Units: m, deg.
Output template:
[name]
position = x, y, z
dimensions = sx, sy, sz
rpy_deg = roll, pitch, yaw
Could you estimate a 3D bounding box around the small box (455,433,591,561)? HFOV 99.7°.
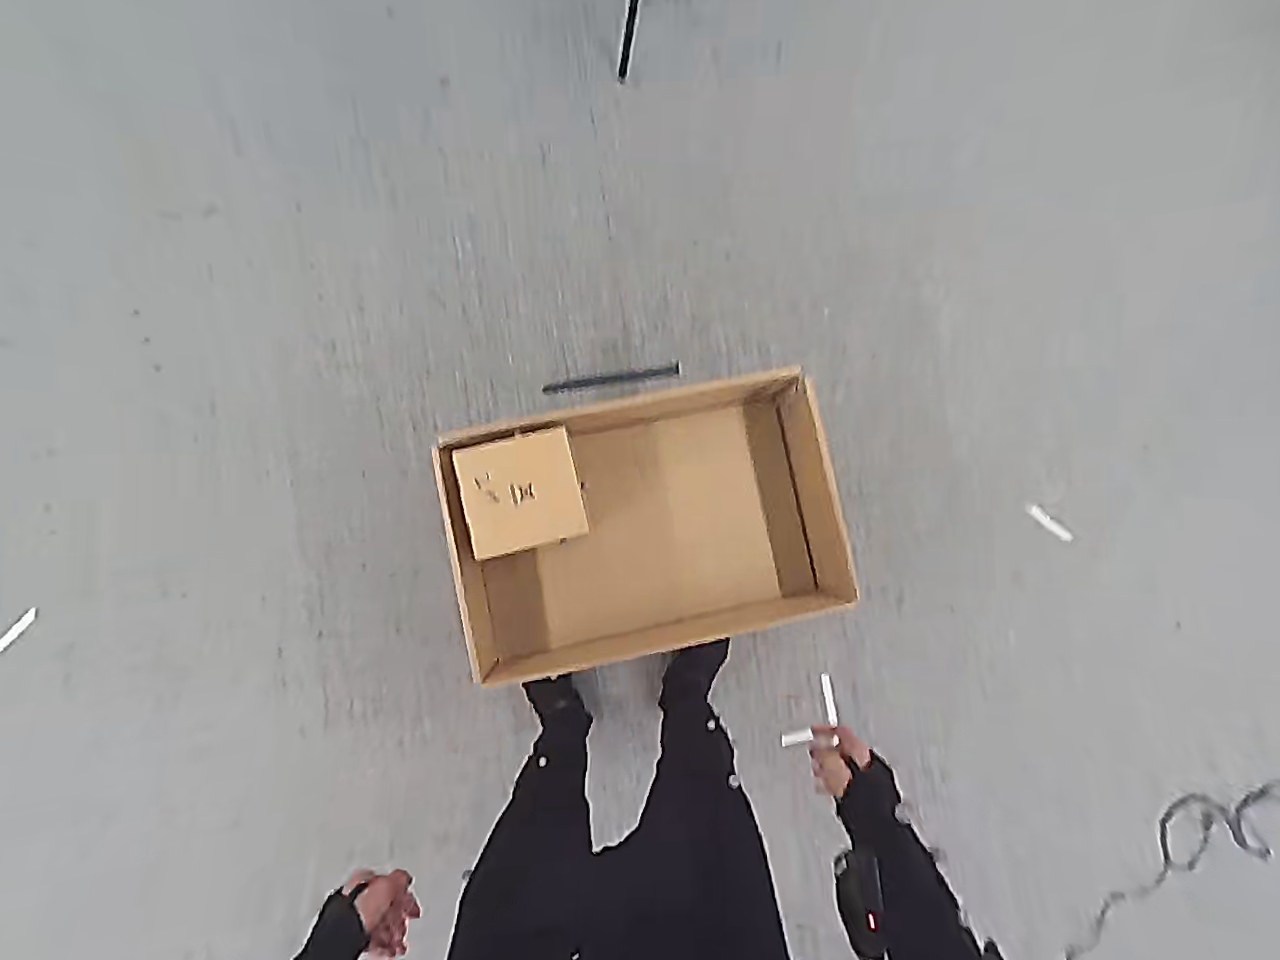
[small box]
position = -0.181, 0.029, 0.888
dimensions = 0.179, 0.176, 0.168
rpy_deg = -13, 86, -4
